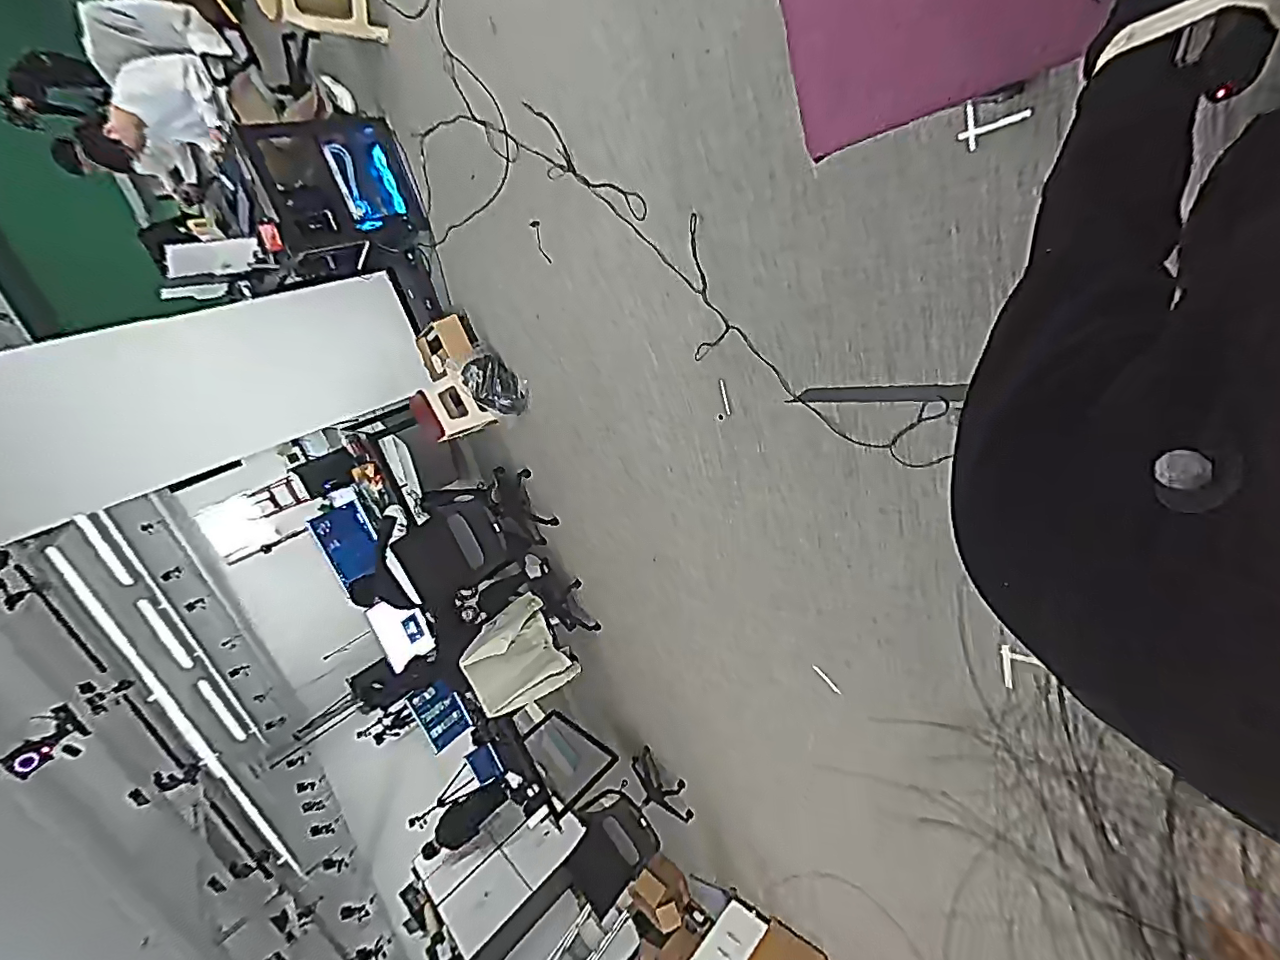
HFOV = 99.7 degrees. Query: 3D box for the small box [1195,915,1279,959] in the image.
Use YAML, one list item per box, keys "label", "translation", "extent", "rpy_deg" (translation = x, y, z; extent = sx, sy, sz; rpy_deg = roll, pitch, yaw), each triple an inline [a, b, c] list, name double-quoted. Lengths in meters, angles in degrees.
- label: "small box"
  translation: [1.697, 1.404, 1.534]
  extent: [0.168, 0.176, 0.179]
  rpy_deg: [6, 121, 50]
